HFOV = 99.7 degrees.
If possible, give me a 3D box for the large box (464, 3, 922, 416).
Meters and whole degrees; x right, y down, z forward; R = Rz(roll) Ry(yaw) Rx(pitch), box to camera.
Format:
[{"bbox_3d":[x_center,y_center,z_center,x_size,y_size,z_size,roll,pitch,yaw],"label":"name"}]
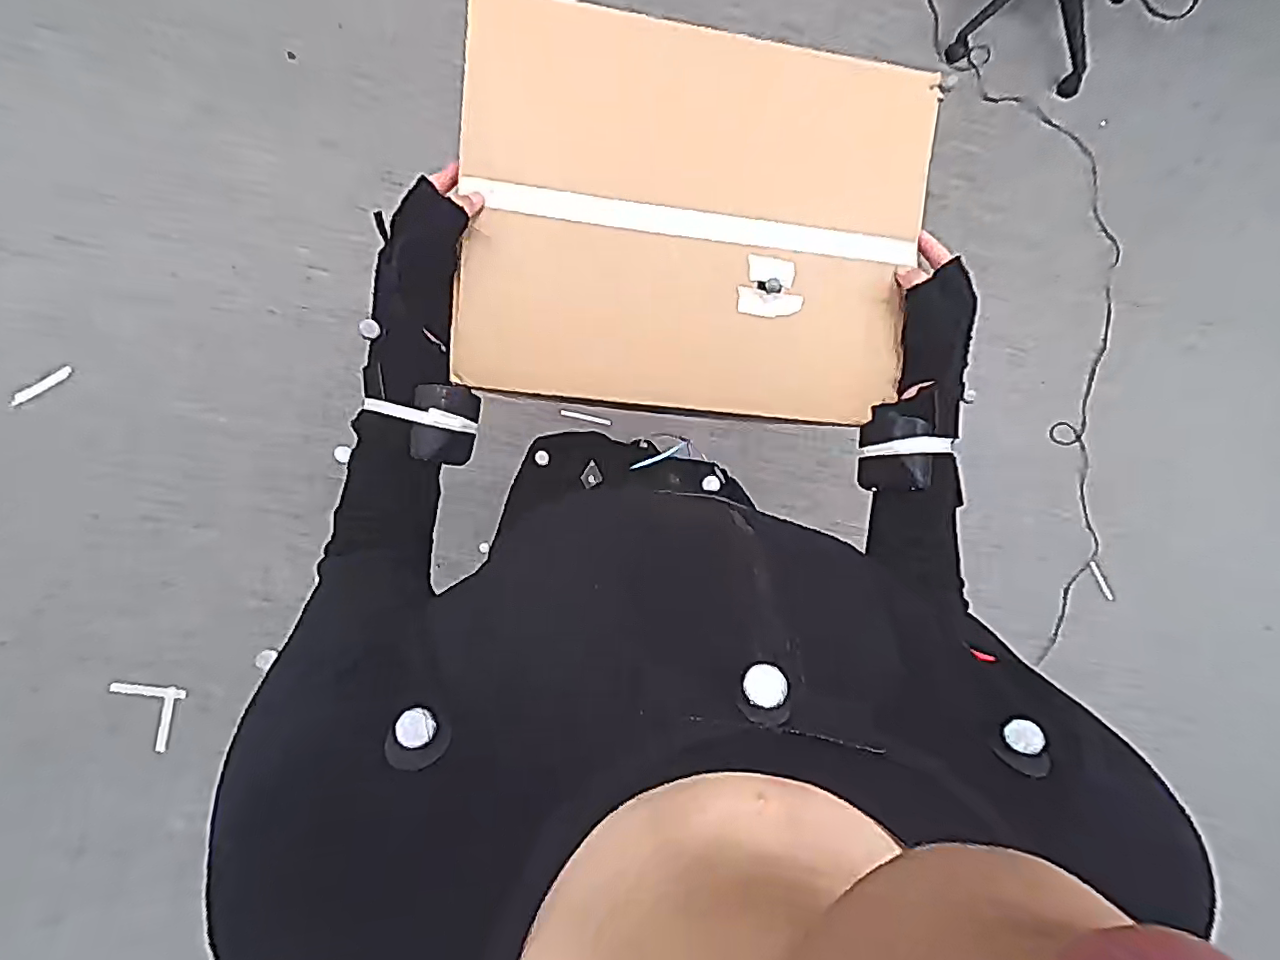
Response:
[{"bbox_3d":[0.030,-0.244,0.628,0.408,0.320,0.320,4,98,-9],"label":"large box"}]
